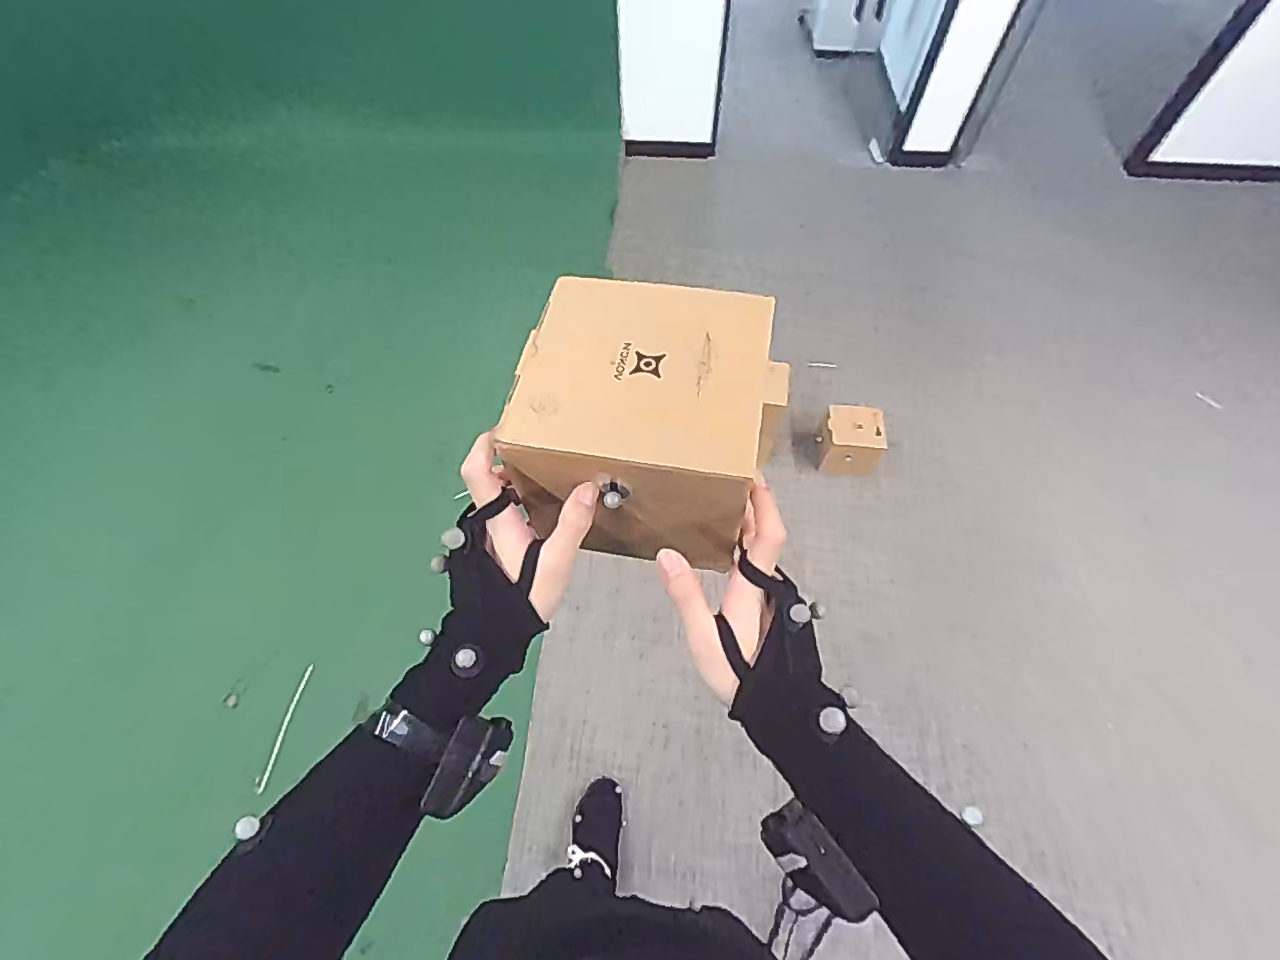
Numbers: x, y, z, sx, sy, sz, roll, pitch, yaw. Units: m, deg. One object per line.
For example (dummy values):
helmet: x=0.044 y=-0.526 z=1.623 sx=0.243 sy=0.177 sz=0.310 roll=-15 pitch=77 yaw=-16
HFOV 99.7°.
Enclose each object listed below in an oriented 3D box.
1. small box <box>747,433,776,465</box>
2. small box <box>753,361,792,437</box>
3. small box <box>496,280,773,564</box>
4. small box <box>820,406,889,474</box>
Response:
small box: x=0.375 y=-0.171 z=1.855 sx=0.168 sy=0.176 sz=0.179 roll=8 pitch=58 yaw=6
small box: x=0.376 y=-0.257 z=1.714 sx=0.168 sy=0.176 sz=0.179 roll=10 pitch=58 yaw=6
small box: x=0.006 y=-0.043 z=0.465 sx=0.179 sy=0.176 sz=0.168 roll=10 pitch=60 yaw=9
small box: x=0.714 y=-0.132 z=1.823 sx=0.179 sy=0.176 sz=0.168 roll=4 pitch=59 yaw=5
